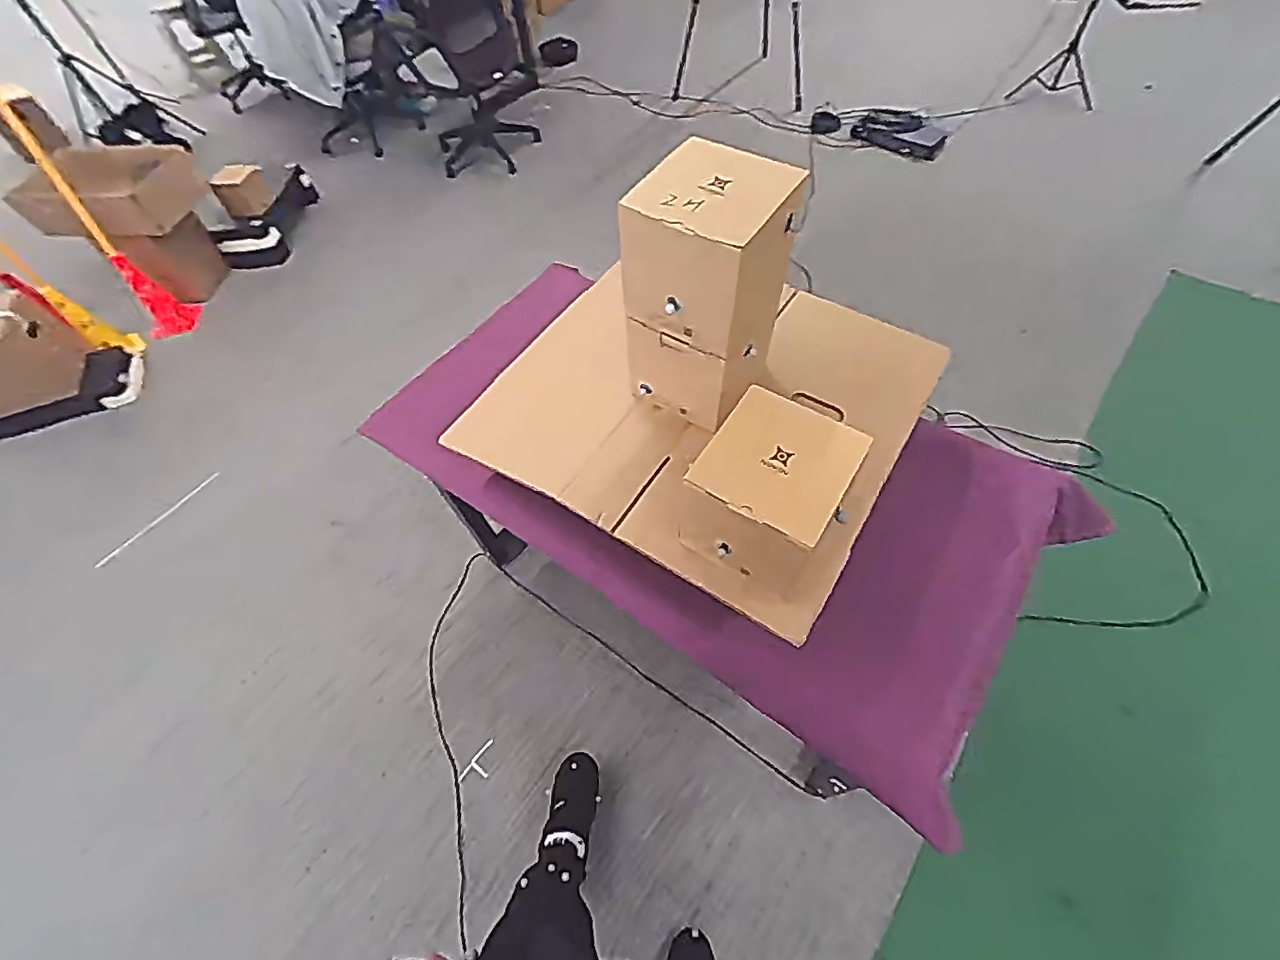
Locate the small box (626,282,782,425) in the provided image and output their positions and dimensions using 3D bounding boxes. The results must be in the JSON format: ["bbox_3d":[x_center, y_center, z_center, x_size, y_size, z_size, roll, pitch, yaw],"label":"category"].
[{"bbox_3d":[0.096,-0.216,0.838,0.168,0.176,0.179,29,64,17],"label":"small box"}]

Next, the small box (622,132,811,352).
[{"bbox_3d":[0.092,-0.303,0.699,0.168,0.176,0.179,29,65,18],"label":"small box"}]

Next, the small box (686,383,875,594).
[{"bbox_3d":[0.167,0.015,0.698,0.168,0.176,0.179,29,65,19],"label":"small box"}]
